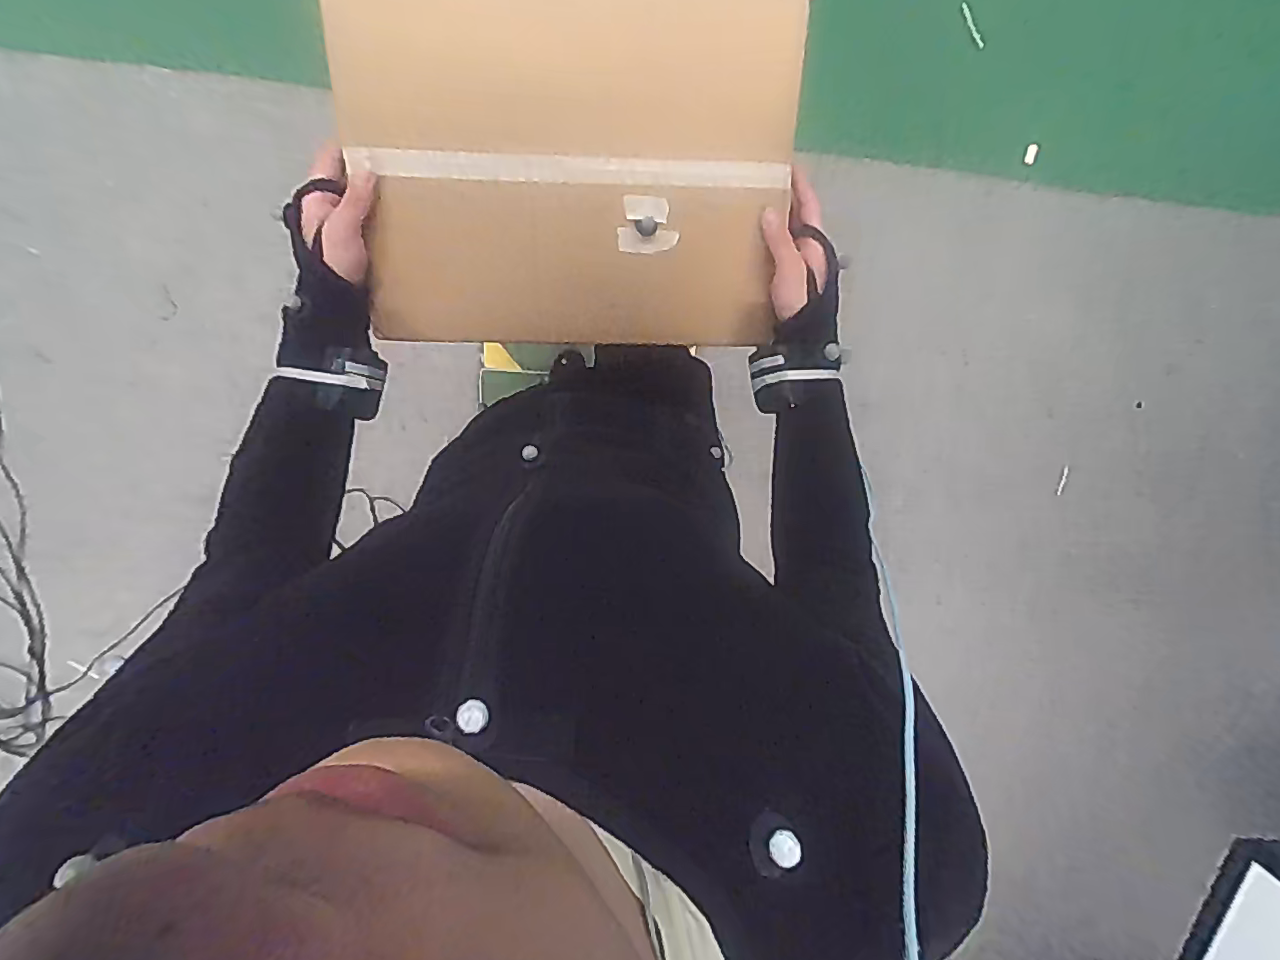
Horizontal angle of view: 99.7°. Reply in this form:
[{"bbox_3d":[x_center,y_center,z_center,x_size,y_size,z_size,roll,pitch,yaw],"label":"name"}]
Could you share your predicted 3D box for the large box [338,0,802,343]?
[{"bbox_3d":[-0.070,-0.343,0.648,0.408,0.320,0.320,-1,112,-5],"label":"large box"}]
